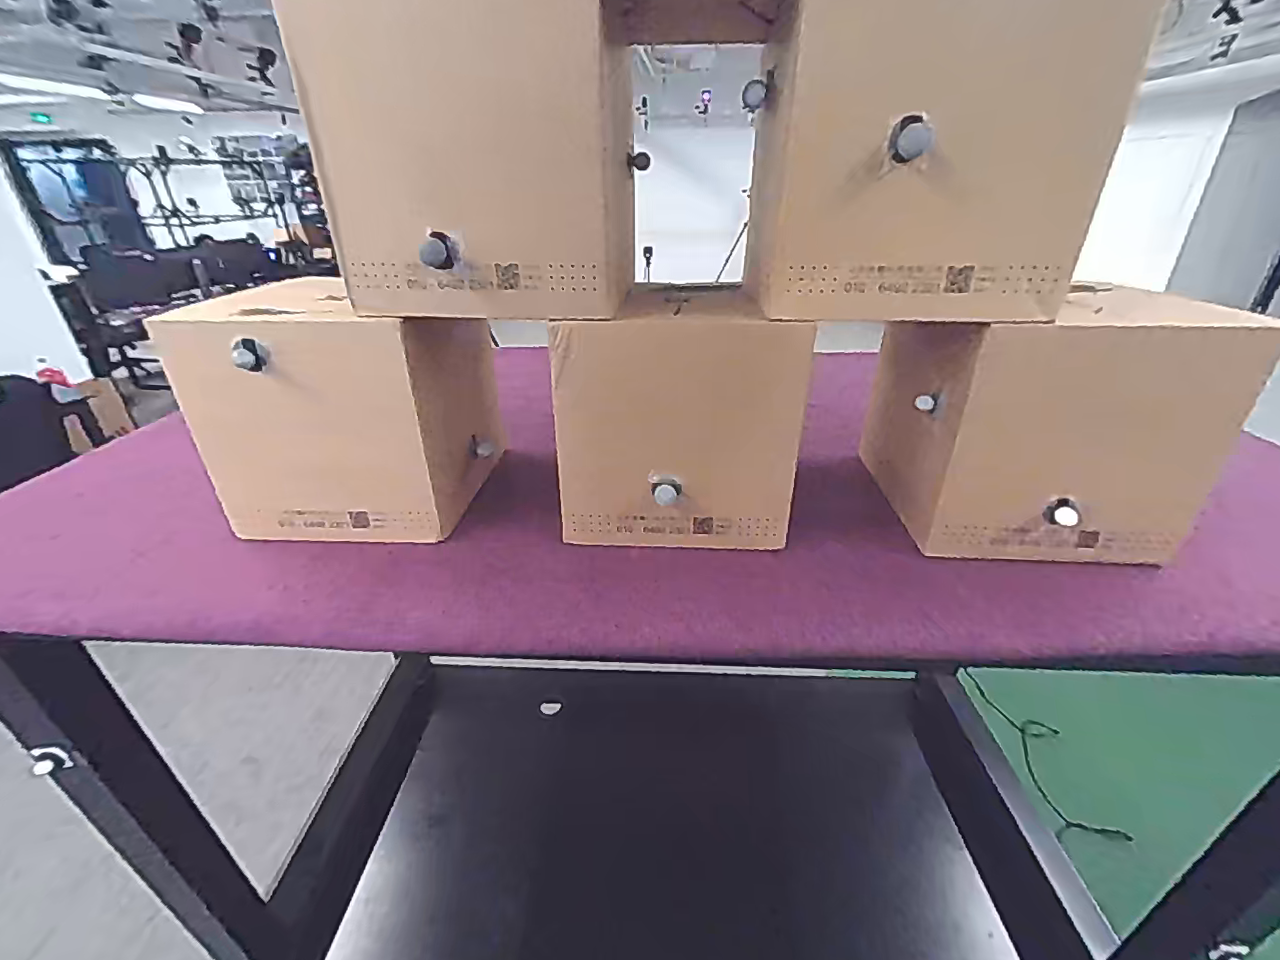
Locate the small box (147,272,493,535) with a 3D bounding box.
[{"bbox_3d":[-0.227,-0.072,0.445,0.168,0.176,0.179,1,27,2],"label":"small box"}]

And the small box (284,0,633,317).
[{"bbox_3d":[-0.095,-0.215,0.368,0.168,0.176,0.179,2,28,5],"label":"small box"}]

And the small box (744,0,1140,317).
[{"bbox_3d":[0.162,-0.205,0.352,0.168,0.176,0.179,2,27,4],"label":"small box"}]
